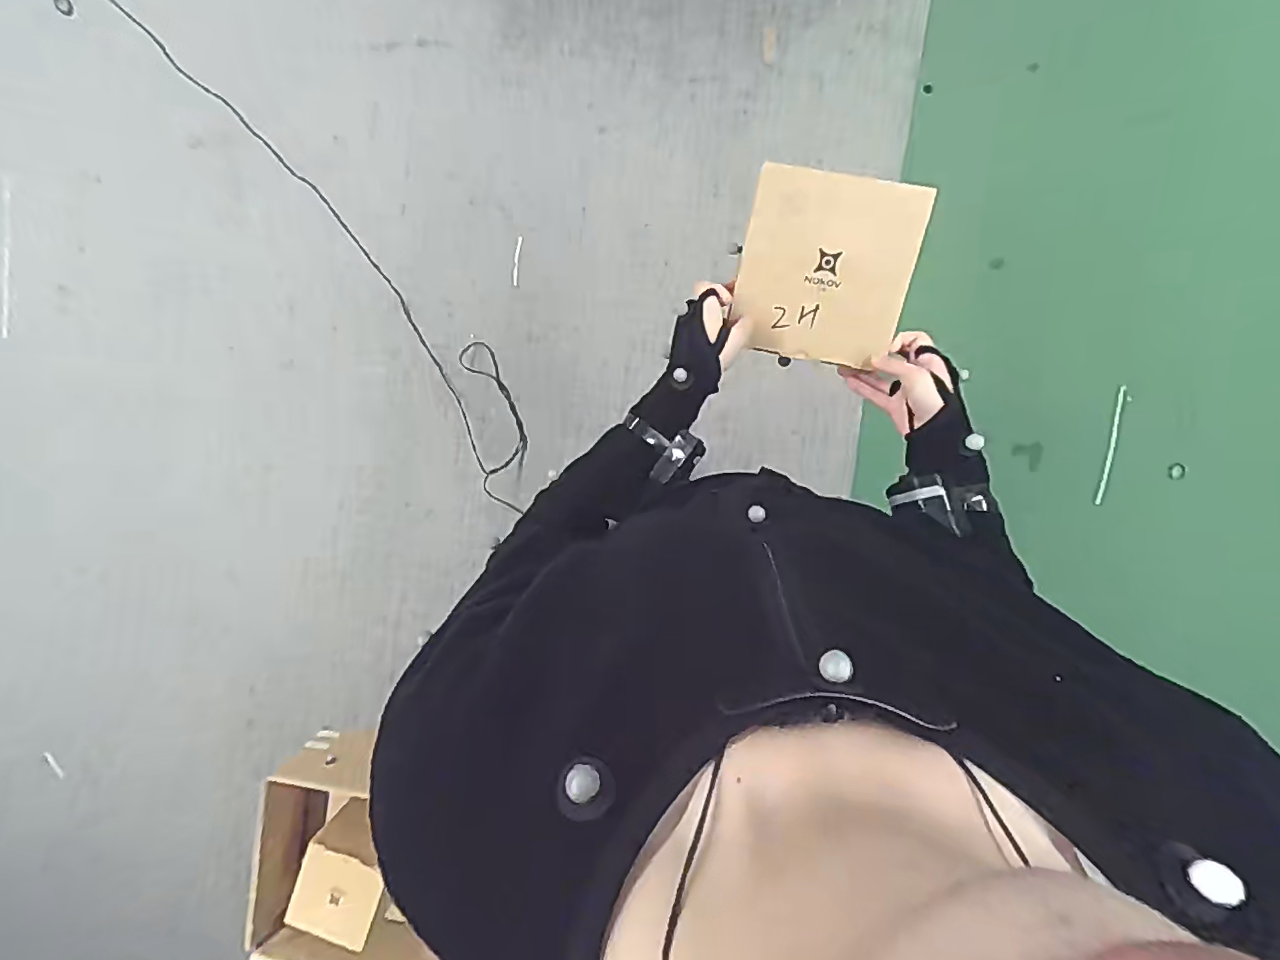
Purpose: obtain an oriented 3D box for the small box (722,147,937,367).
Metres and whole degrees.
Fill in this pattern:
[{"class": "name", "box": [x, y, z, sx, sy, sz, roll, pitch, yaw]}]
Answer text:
[{"class": "small box", "box": [0.188, -0.235, 0.598, 0.168, 0.176, 0.179, 13, 109, 5]}]
